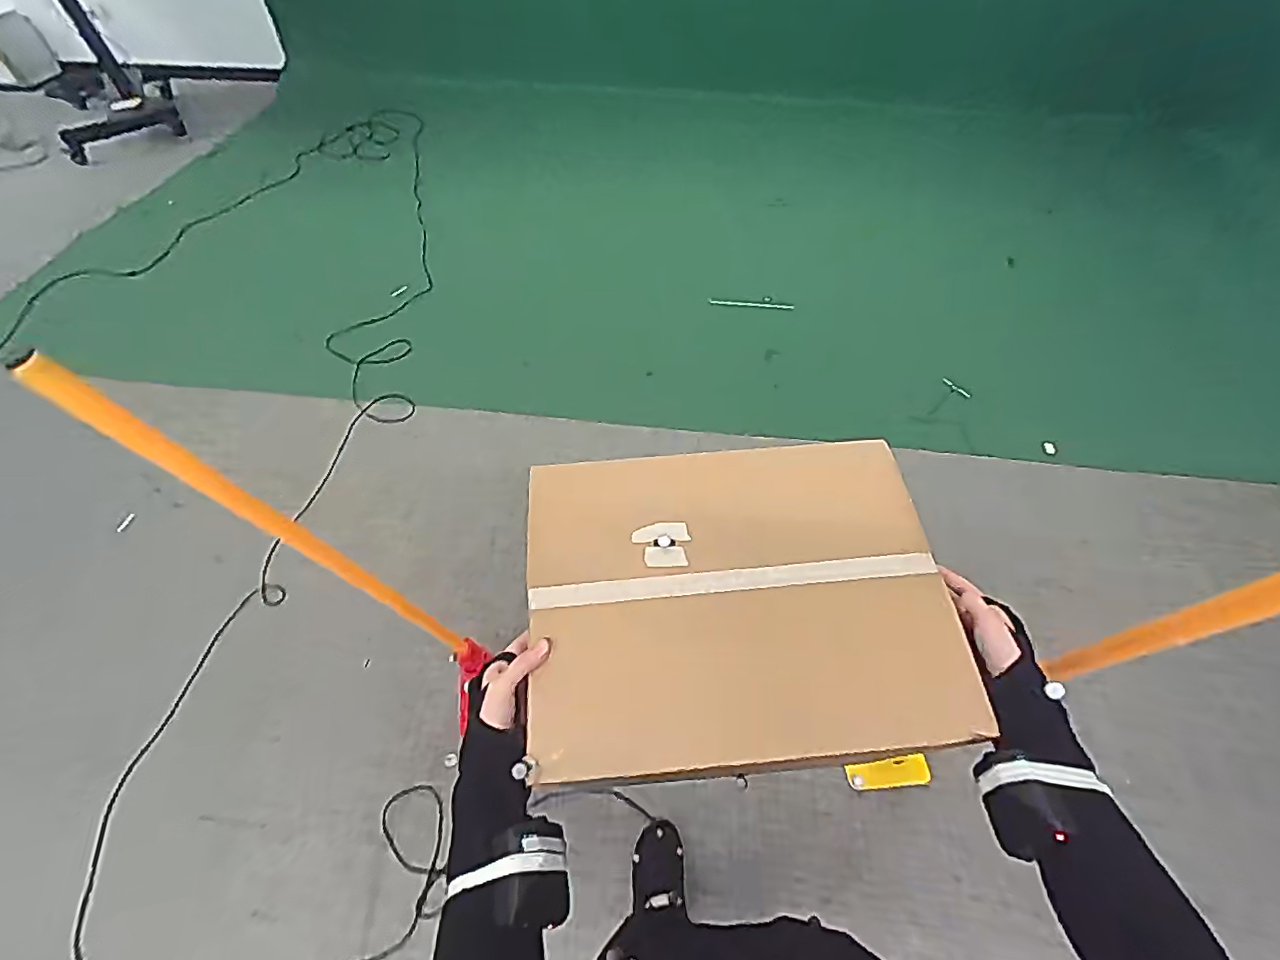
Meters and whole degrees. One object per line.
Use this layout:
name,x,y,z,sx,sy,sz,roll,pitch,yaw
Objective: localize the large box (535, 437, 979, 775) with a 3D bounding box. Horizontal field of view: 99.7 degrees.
large box,0.099,0.175,0.678,0.408,0.320,0.320,-6,59,-1
